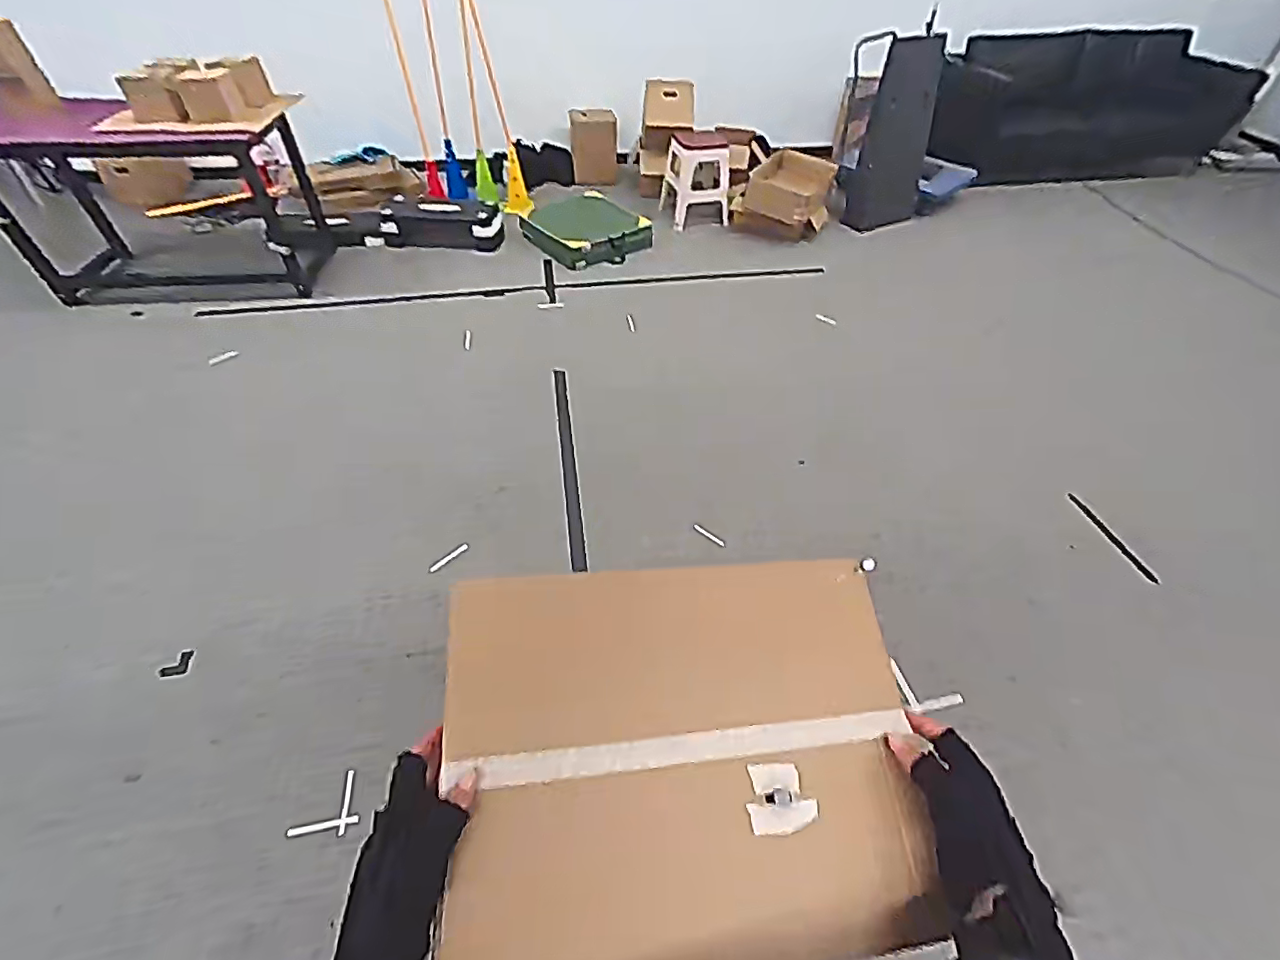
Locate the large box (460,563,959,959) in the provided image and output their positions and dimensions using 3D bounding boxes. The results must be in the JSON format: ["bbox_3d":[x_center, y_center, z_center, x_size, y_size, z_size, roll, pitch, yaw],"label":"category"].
[{"bbox_3d":[0.031,0.296,0.602,0.408,0.320,0.320,-1,65,-10],"label":"large box"}]
